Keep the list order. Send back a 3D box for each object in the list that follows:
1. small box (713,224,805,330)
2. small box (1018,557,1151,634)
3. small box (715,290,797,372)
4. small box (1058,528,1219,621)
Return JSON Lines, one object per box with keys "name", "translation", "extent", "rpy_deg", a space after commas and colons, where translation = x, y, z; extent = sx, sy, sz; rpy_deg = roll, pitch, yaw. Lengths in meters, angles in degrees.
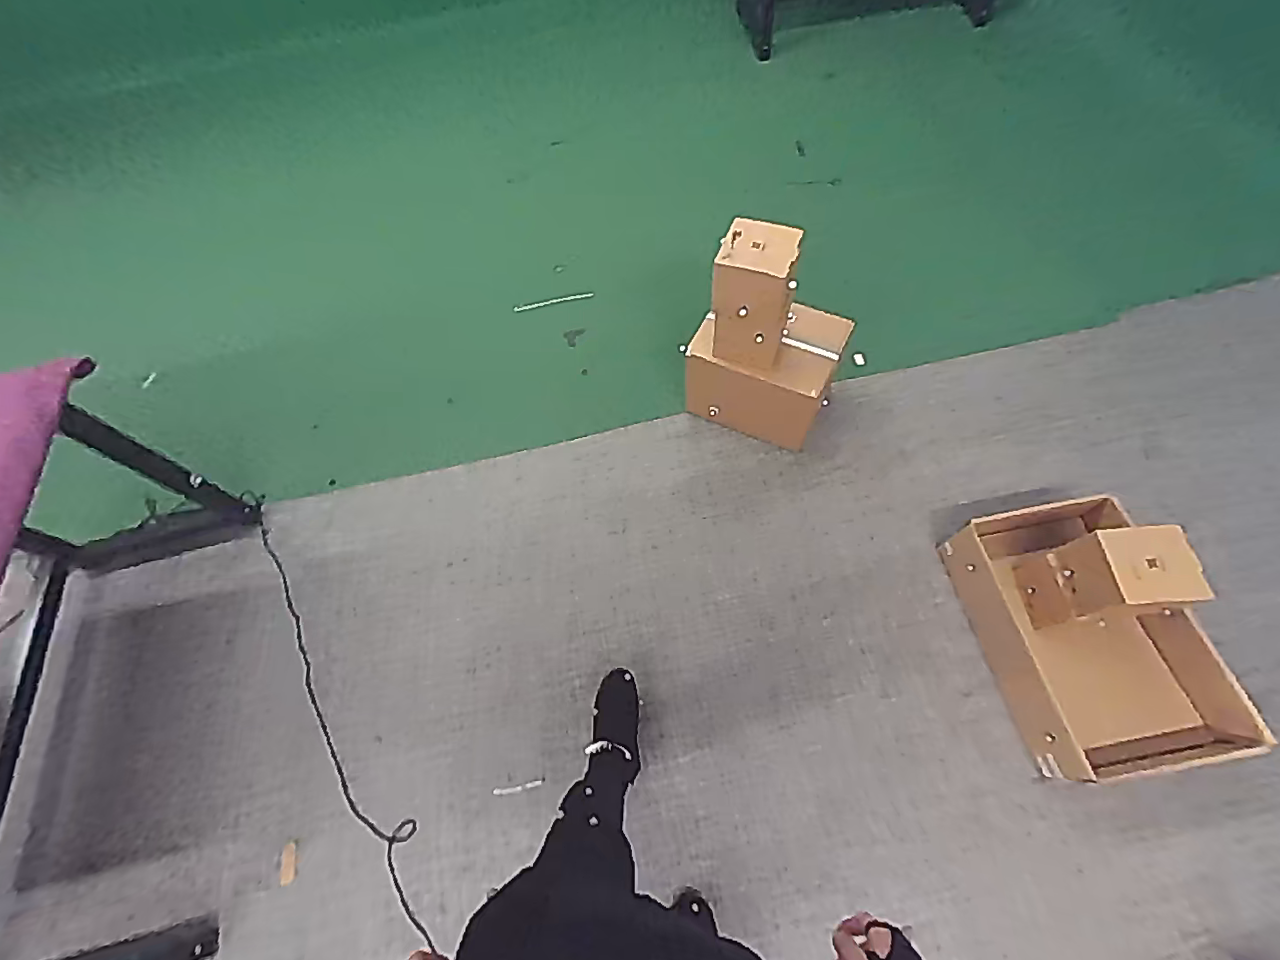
{"name": "small box", "translation": [0.295, -0.505, 1.363], "extent": [0.179, 0.176, 0.168], "rpy_deg": [19, 66, 13]}
{"name": "small box", "translation": [1.104, 0.284, 1.354], "extent": [0.179, 0.176, 0.168], "rpy_deg": [-8, 65, 2]}
{"name": "small box", "translation": [0.318, -0.427, 1.505], "extent": [0.179, 0.176, 0.168], "rpy_deg": [18, 65, 14]}
{"name": "small box", "translation": [1.095, 0.215, 1.207], "extent": [0.179, 0.176, 0.168], "rpy_deg": [-5, 65, 4]}
